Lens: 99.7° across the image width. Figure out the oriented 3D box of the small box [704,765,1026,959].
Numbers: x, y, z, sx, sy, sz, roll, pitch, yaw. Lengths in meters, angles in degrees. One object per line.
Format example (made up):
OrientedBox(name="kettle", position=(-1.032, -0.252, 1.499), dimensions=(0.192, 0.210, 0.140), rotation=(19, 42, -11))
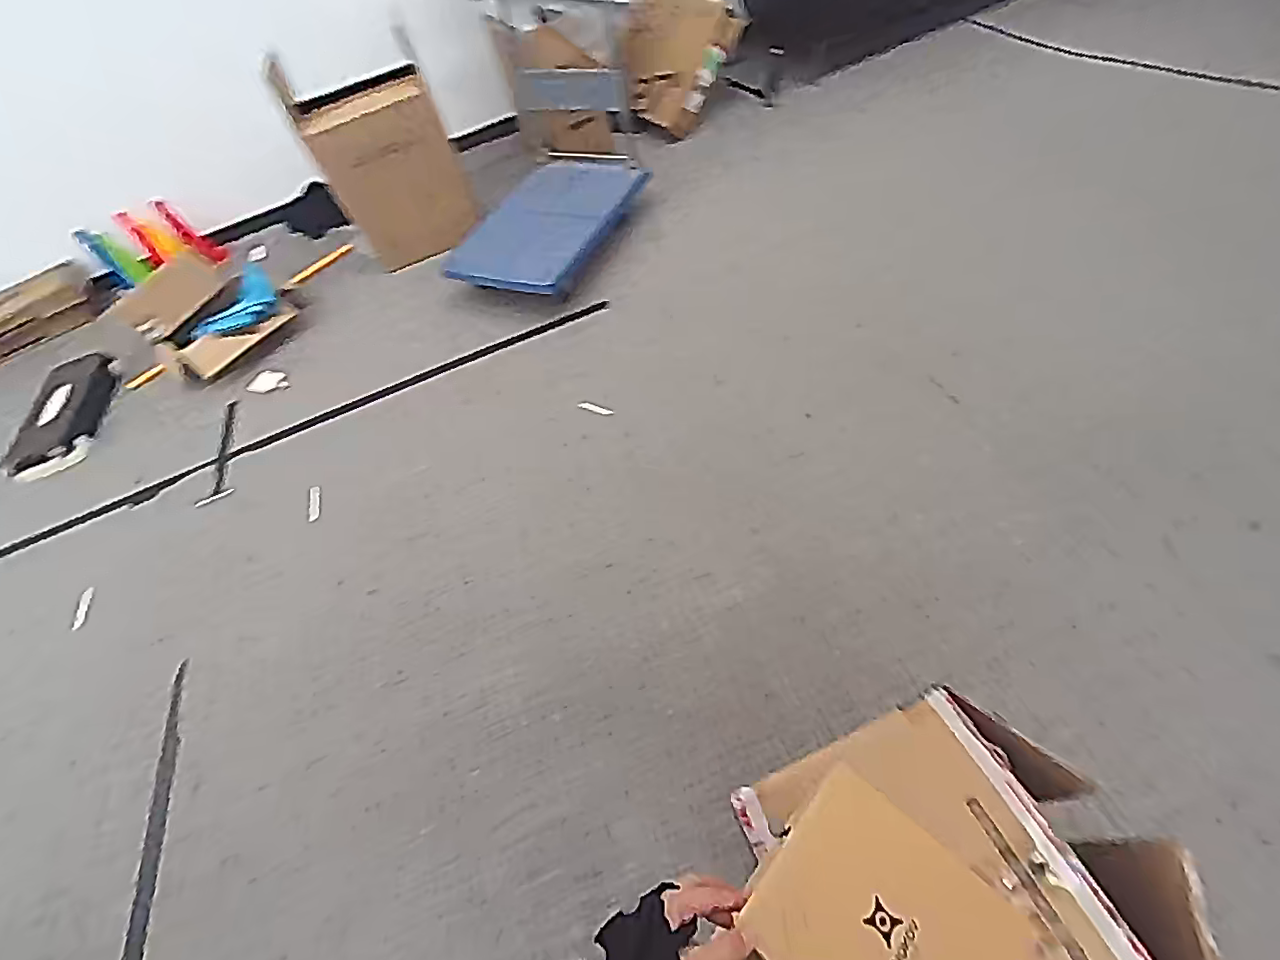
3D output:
OrientedBox(name="small box", position=(0.175, 0.398, 0.466), dimensions=(0.179, 0.176, 0.168), rotation=(35, 51, 27))
